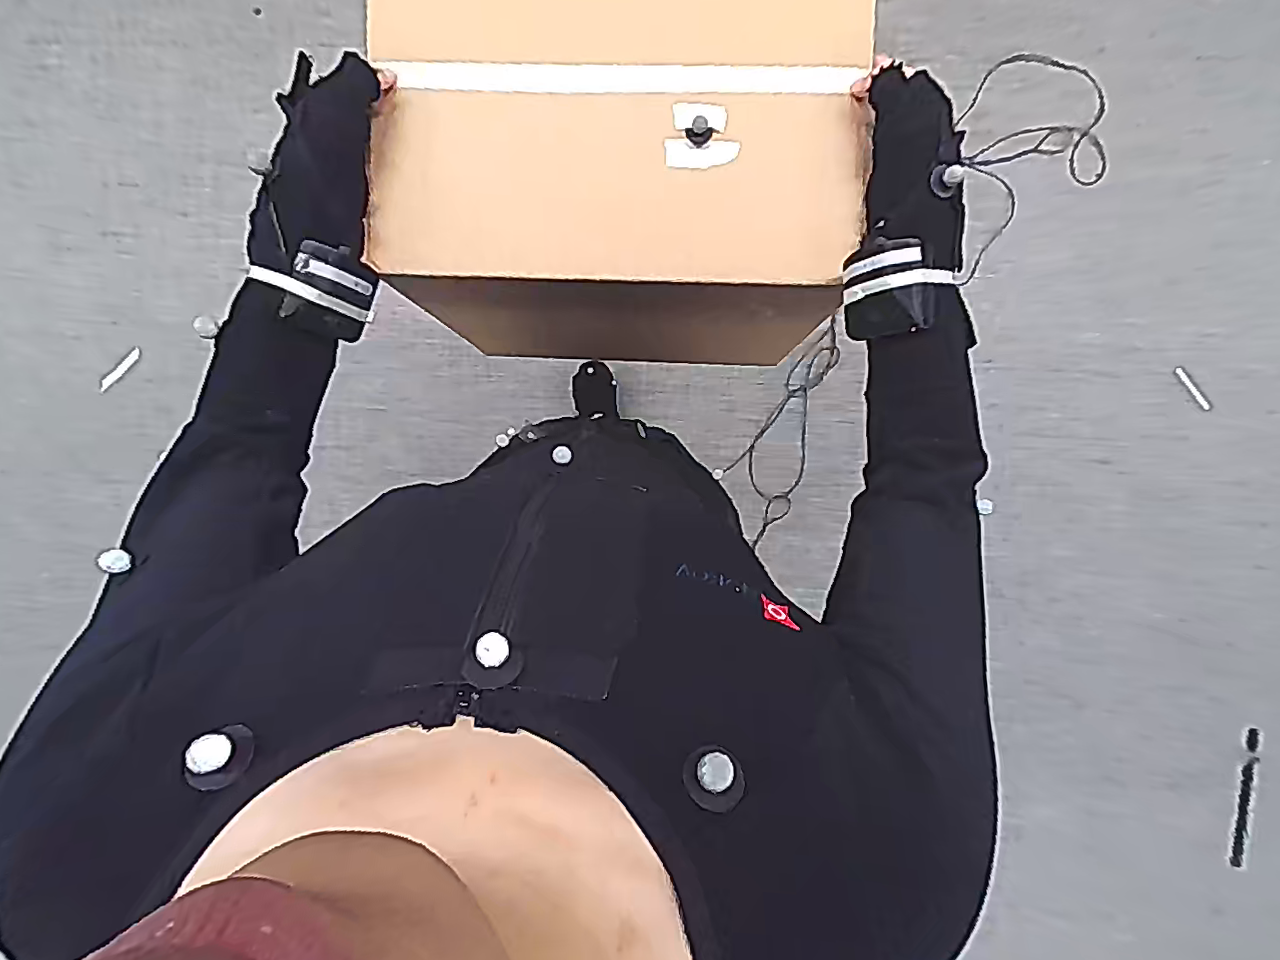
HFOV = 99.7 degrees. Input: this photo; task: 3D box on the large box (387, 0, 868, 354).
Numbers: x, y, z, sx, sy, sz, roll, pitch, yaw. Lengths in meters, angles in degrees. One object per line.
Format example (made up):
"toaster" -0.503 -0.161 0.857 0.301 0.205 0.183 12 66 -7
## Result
"large box" -0.010 -0.328 0.599 0.408 0.320 0.320 2 91 1
